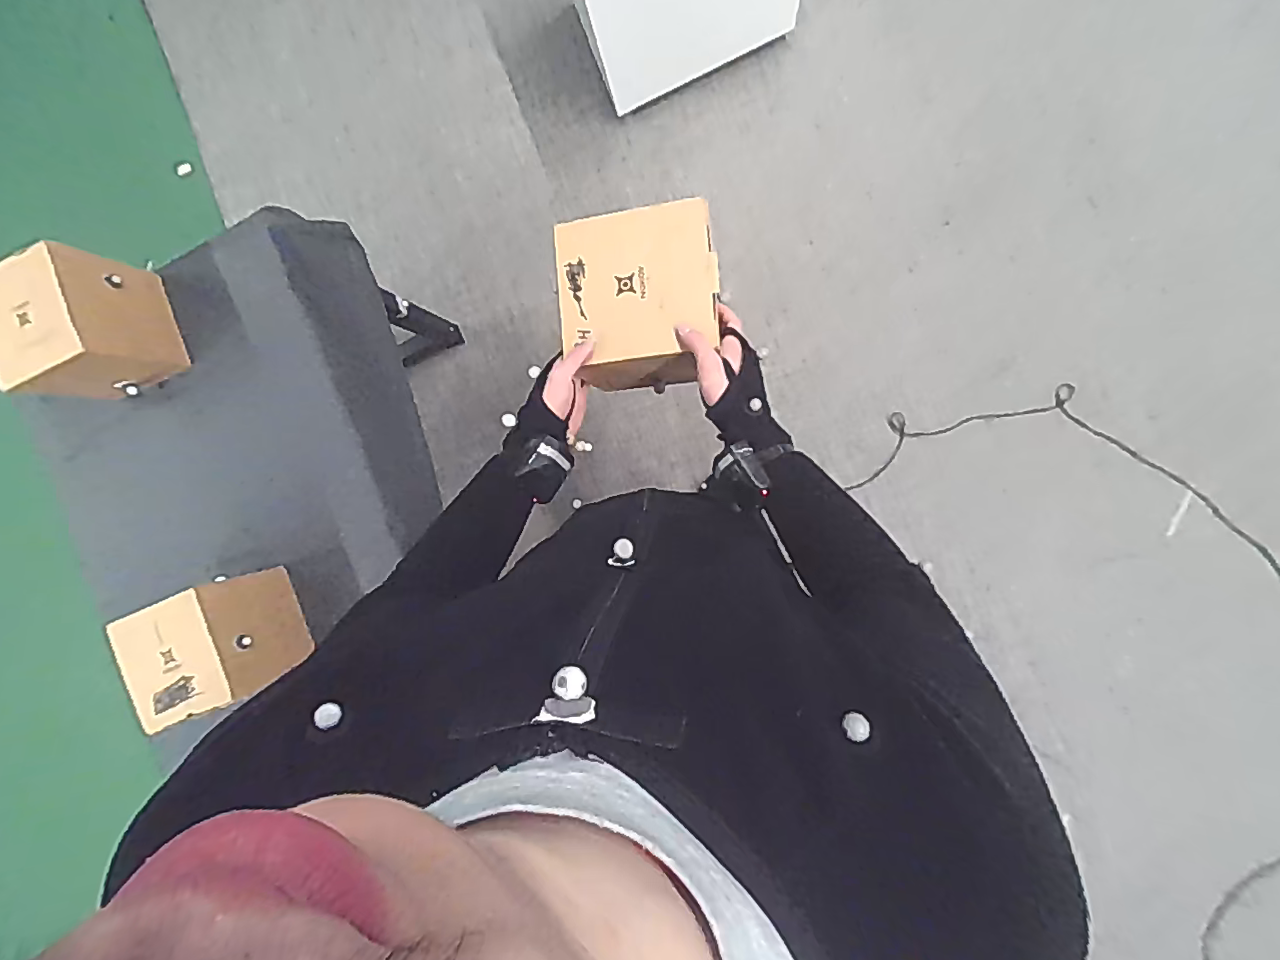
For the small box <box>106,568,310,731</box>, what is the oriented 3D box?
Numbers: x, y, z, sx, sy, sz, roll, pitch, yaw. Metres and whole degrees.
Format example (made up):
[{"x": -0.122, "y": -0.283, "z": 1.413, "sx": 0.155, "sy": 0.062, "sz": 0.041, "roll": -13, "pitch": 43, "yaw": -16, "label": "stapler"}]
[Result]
[{"x": -0.670, "y": 0.258, "z": 0.860, "sx": 0.168, "sy": 0.176, "sz": 0.179, "roll": -21, "pitch": 88, "yaw": 9, "label": "small box"}]

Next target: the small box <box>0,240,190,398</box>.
[{"x": -0.893, "y": -0.246, "z": 0.874, "sx": 0.168, "sy": 0.176, "sz": 0.179, "roll": -20, "pitch": 90, "yaw": 10, "label": "small box"}]

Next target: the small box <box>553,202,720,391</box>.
[{"x": 0.007, "y": -0.210, "z": 0.666, "sx": 0.179, "sy": 0.176, "sz": 0.168, "roll": -5, "pitch": 89, "yaw": 11, "label": "small box"}]
